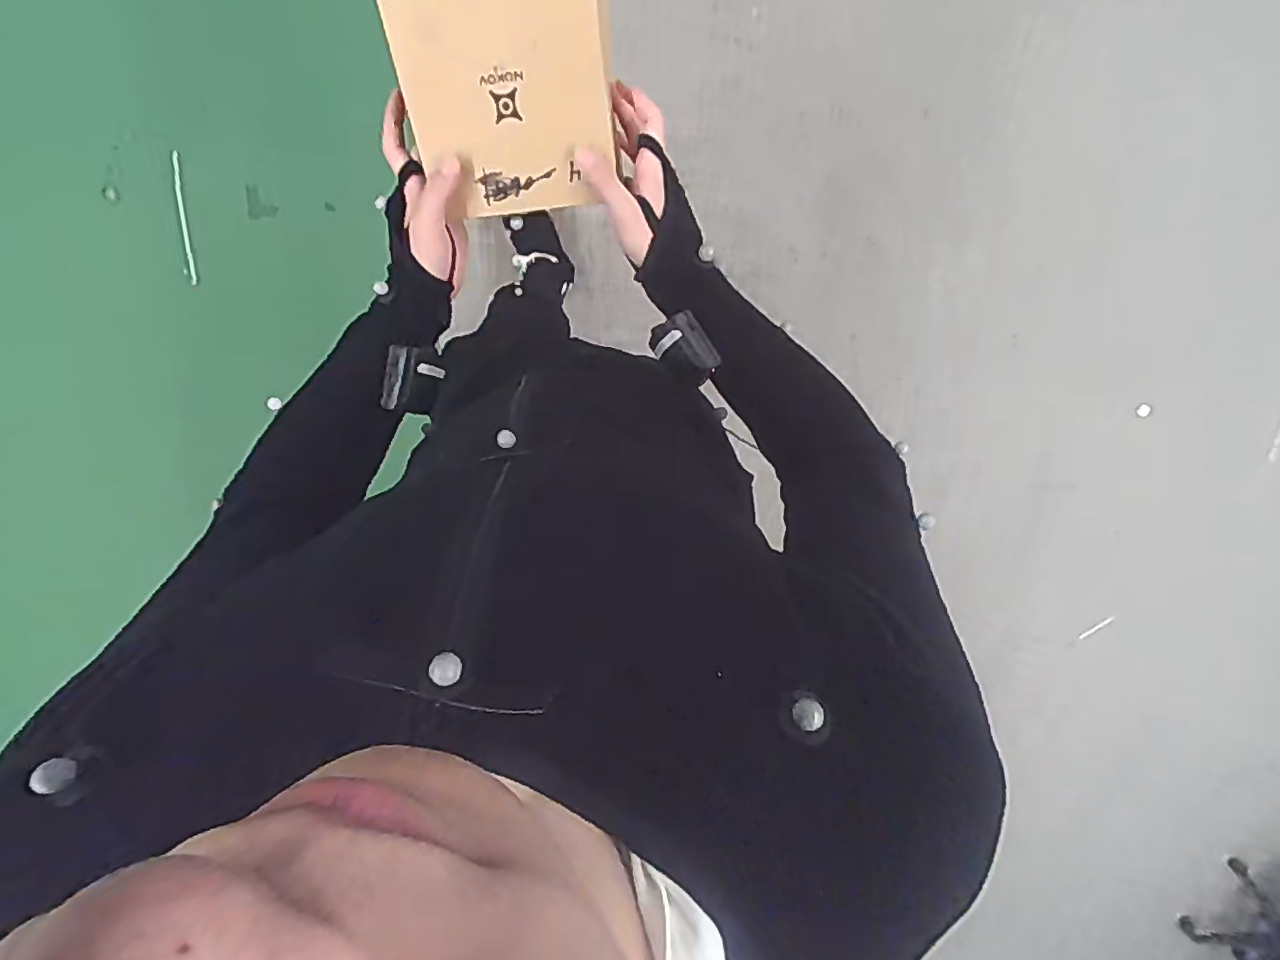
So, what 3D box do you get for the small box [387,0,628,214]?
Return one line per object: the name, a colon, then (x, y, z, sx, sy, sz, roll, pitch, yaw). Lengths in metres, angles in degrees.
small box: (-0.102, -0.353, 0.497, 0.168, 0.176, 0.179, -4, 120, 4)
